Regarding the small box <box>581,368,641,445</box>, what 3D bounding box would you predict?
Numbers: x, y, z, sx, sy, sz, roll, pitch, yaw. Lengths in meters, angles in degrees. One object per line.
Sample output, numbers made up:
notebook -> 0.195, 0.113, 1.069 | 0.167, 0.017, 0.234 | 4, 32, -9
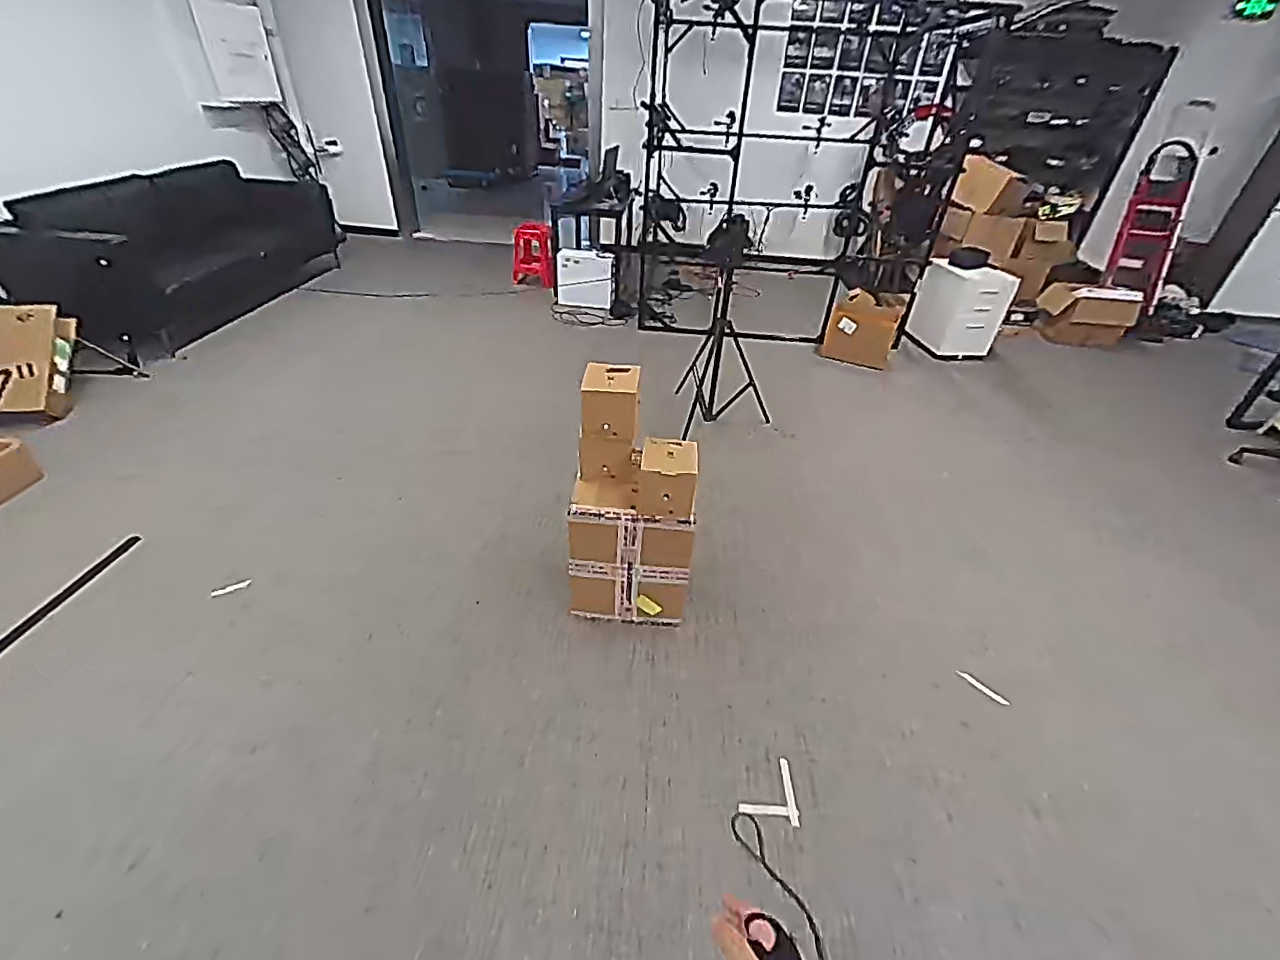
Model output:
small box -> -0.086, -0.229, 1.667 | 0.168, 0.176, 0.179 | 3, 38, 3

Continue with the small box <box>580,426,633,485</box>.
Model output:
small box -> -0.105, -0.101, 1.771 | 0.168, 0.176, 0.179 | 1, 38, 0

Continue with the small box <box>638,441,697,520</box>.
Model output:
small box -> 0.085, 0.003, 1.645 | 0.168, 0.176, 0.179 | 5, 38, 1
